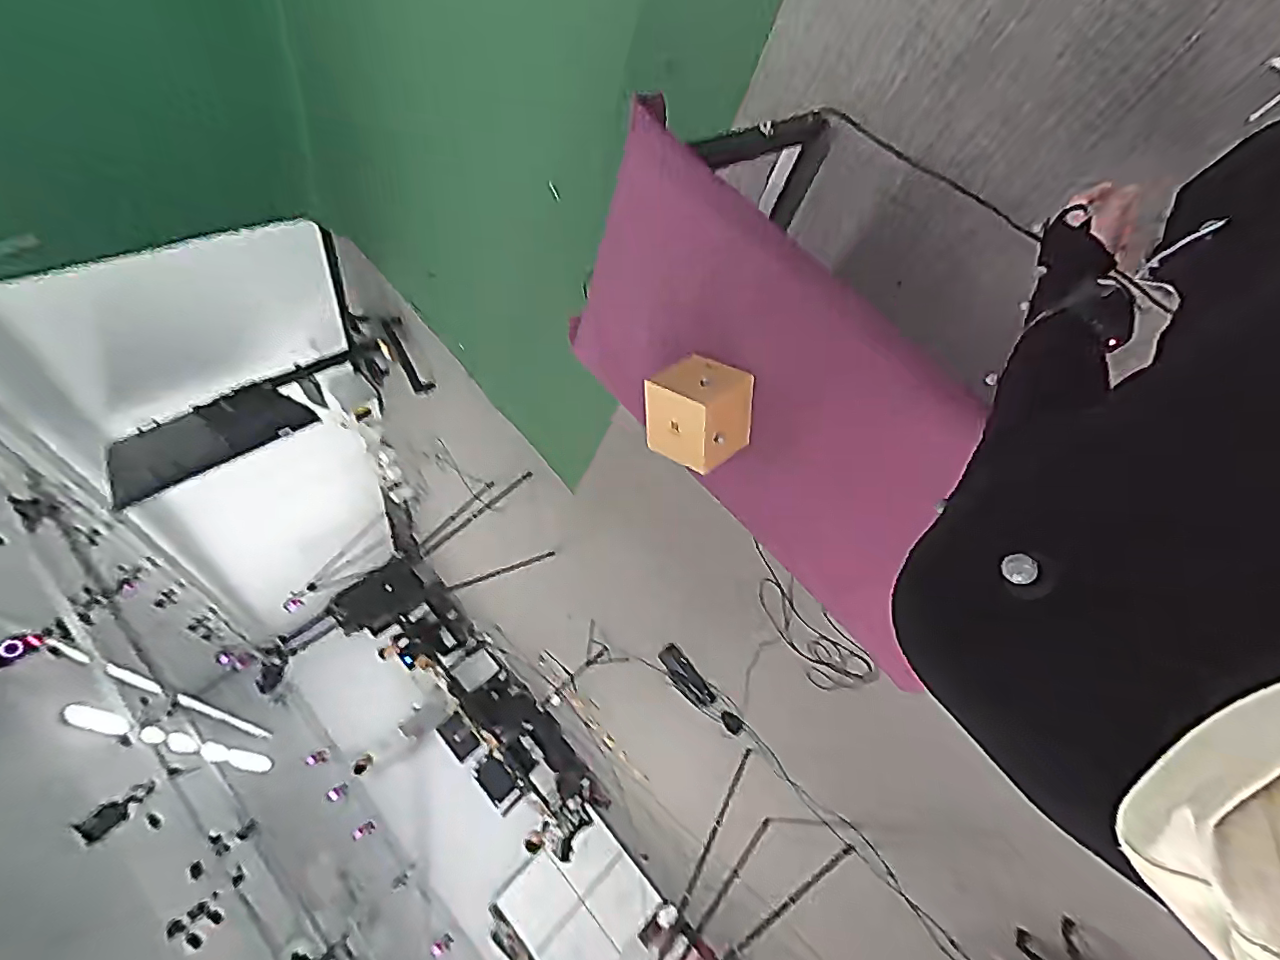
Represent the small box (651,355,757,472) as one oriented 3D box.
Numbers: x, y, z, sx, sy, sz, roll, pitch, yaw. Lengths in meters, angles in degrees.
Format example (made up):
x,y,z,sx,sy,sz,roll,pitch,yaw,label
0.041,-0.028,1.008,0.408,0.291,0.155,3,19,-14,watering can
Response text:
x,y,z,sx,sy,sz,roll,pitch,yaw,label
0.144,-0.155,1.194,0.168,0.176,0.179,29,141,34,small box
